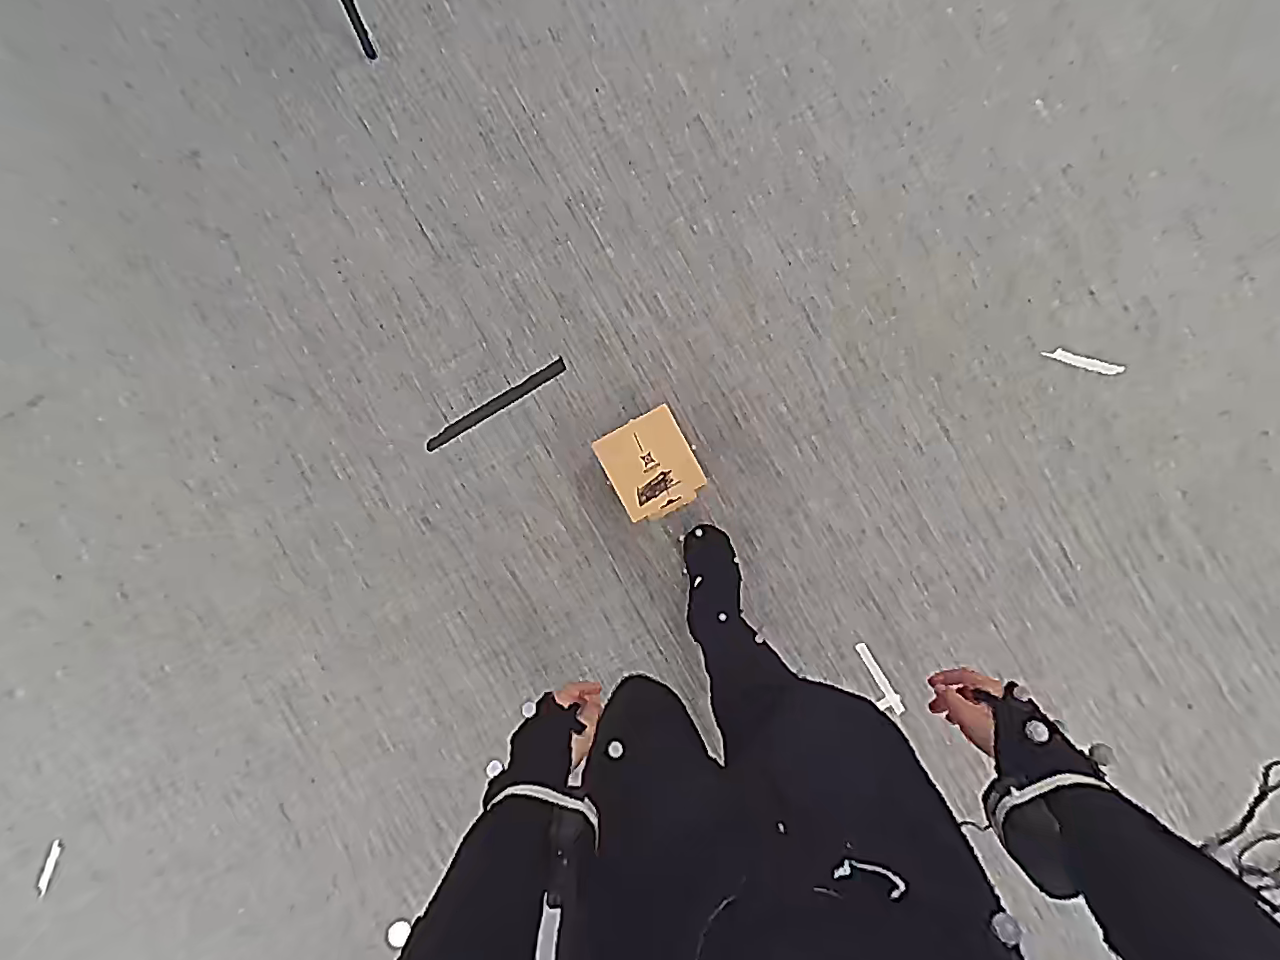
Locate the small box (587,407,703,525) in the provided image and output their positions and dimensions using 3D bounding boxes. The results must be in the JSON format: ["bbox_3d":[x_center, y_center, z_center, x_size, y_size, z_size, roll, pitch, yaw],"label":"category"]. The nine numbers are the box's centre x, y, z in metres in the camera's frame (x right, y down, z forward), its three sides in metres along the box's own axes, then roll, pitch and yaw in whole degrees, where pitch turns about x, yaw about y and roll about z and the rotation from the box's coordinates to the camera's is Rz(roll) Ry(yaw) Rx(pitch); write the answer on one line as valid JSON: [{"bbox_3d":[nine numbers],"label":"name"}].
[{"bbox_3d":[0.015,-0.028,1.096,0.168,0.176,0.179,-29,89,3],"label":"small box"}]
